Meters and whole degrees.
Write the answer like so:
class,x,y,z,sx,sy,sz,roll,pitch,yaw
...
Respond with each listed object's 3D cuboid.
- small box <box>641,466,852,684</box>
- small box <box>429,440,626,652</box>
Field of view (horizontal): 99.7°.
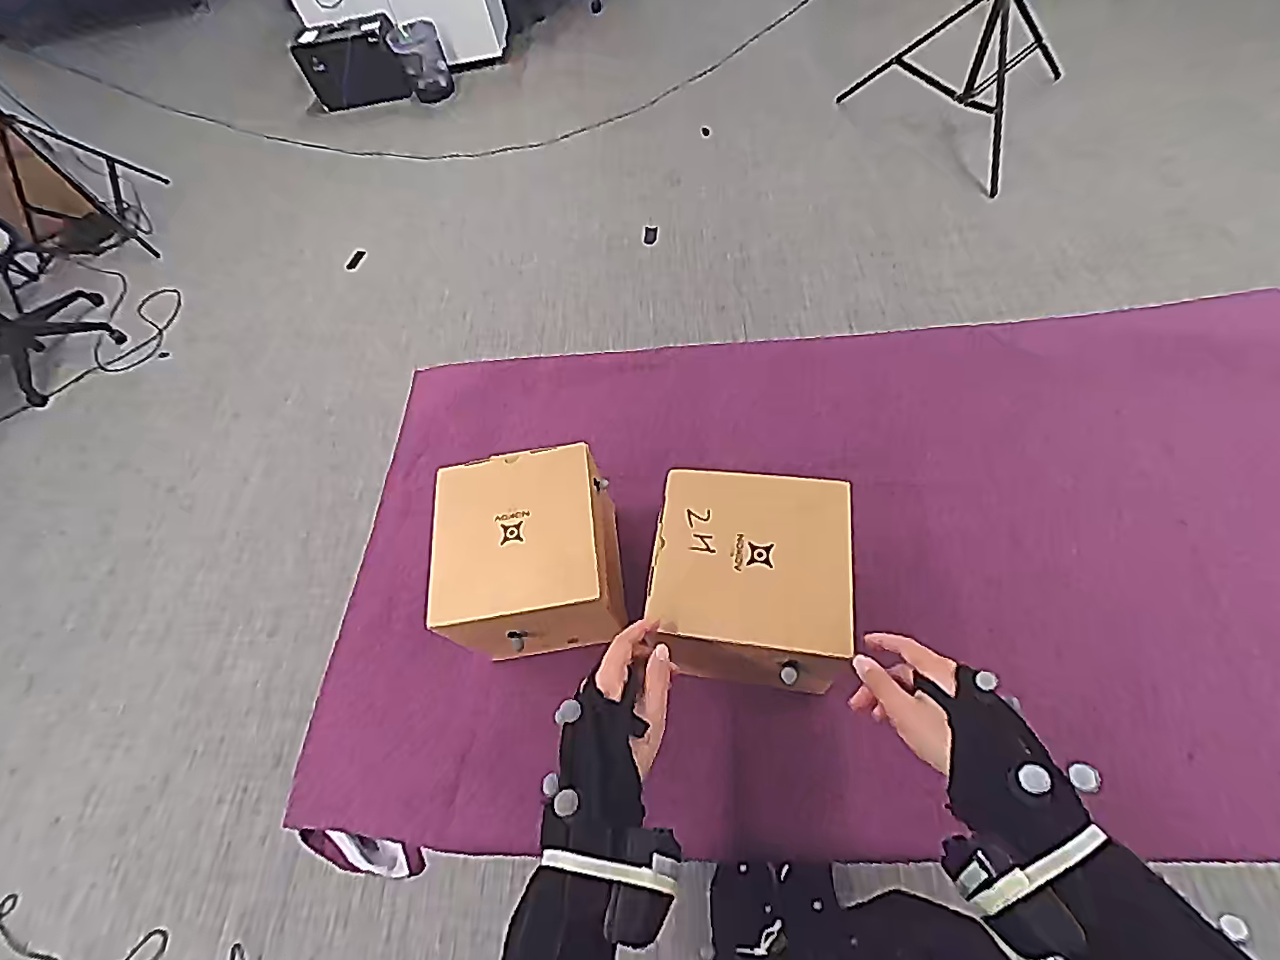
class,x,y,z,sx,sy,sz,roll,pitch,yaw
small box,0.110,0.103,0.557,0.179,0.176,0.168,4,60,12
small box,-0.117,0.085,0.607,0.168,0.176,0.179,-11,59,3
